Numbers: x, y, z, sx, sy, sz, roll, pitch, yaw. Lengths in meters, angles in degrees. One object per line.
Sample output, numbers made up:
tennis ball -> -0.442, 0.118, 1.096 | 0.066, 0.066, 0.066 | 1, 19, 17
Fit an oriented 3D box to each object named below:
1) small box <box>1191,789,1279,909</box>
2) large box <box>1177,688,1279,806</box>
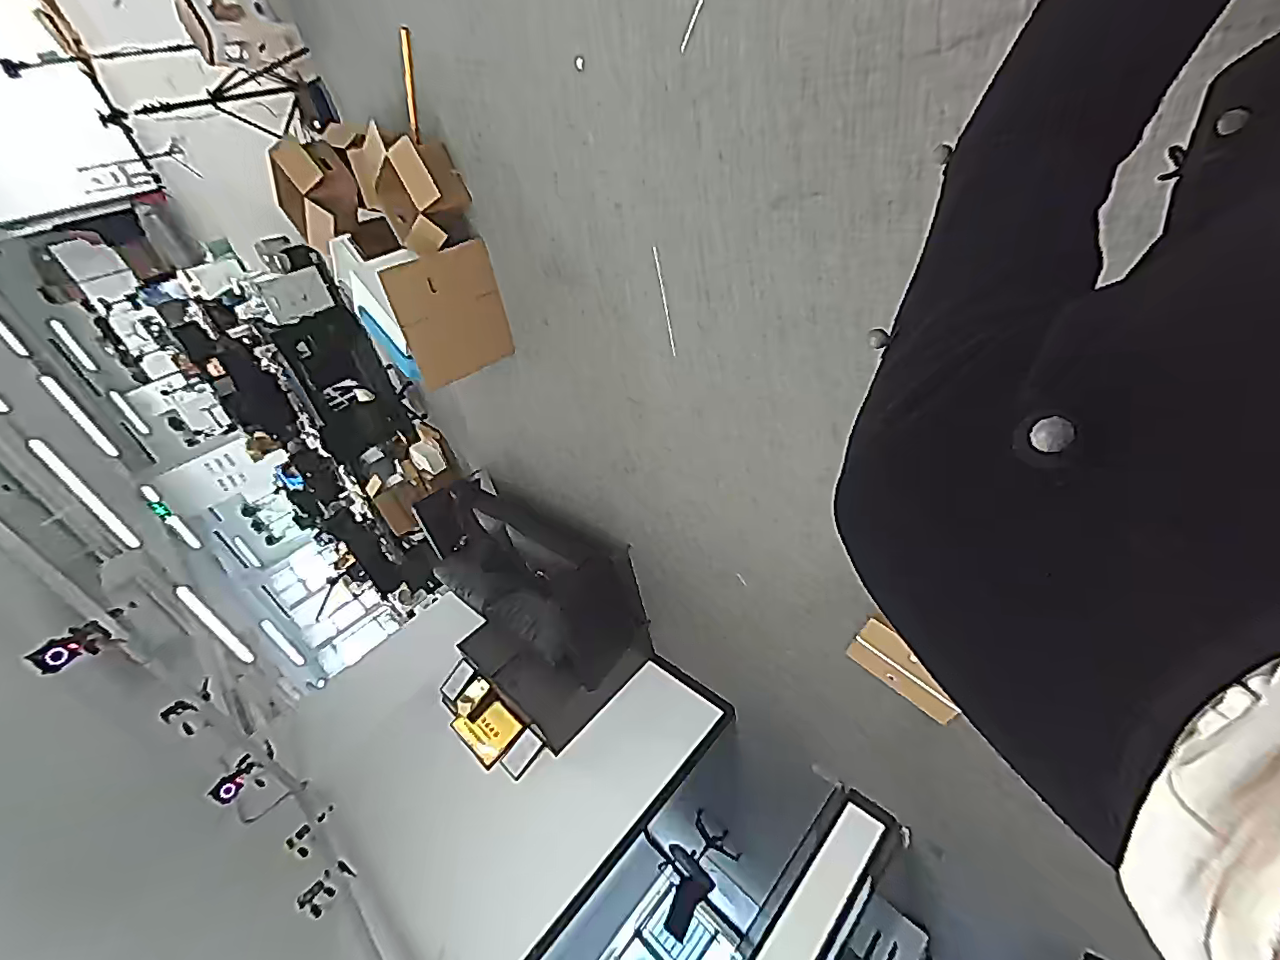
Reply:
small box -> 1.483, 0.881, 1.293 | 0.168, 0.176, 0.179 | 57, 149, -6
large box -> 1.705, 0.765, 1.363 | 0.320, 0.320, 0.408 | 56, 148, -7
